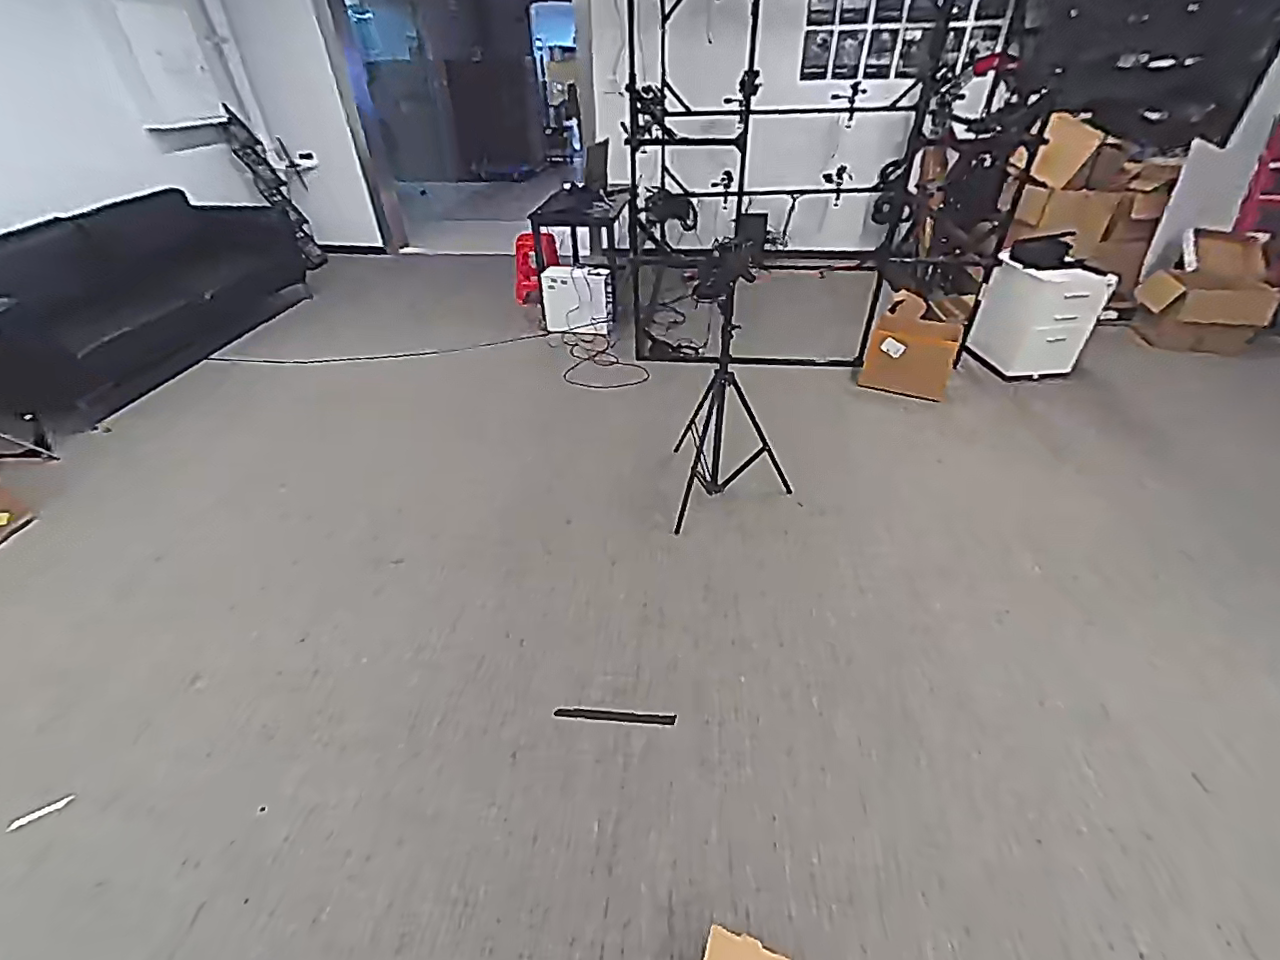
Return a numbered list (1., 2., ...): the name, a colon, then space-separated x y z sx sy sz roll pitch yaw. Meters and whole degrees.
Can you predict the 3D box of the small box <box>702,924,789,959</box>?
1. small box: 0.189 1.029 1.056 0.168 0.176 0.179 13 39 17
